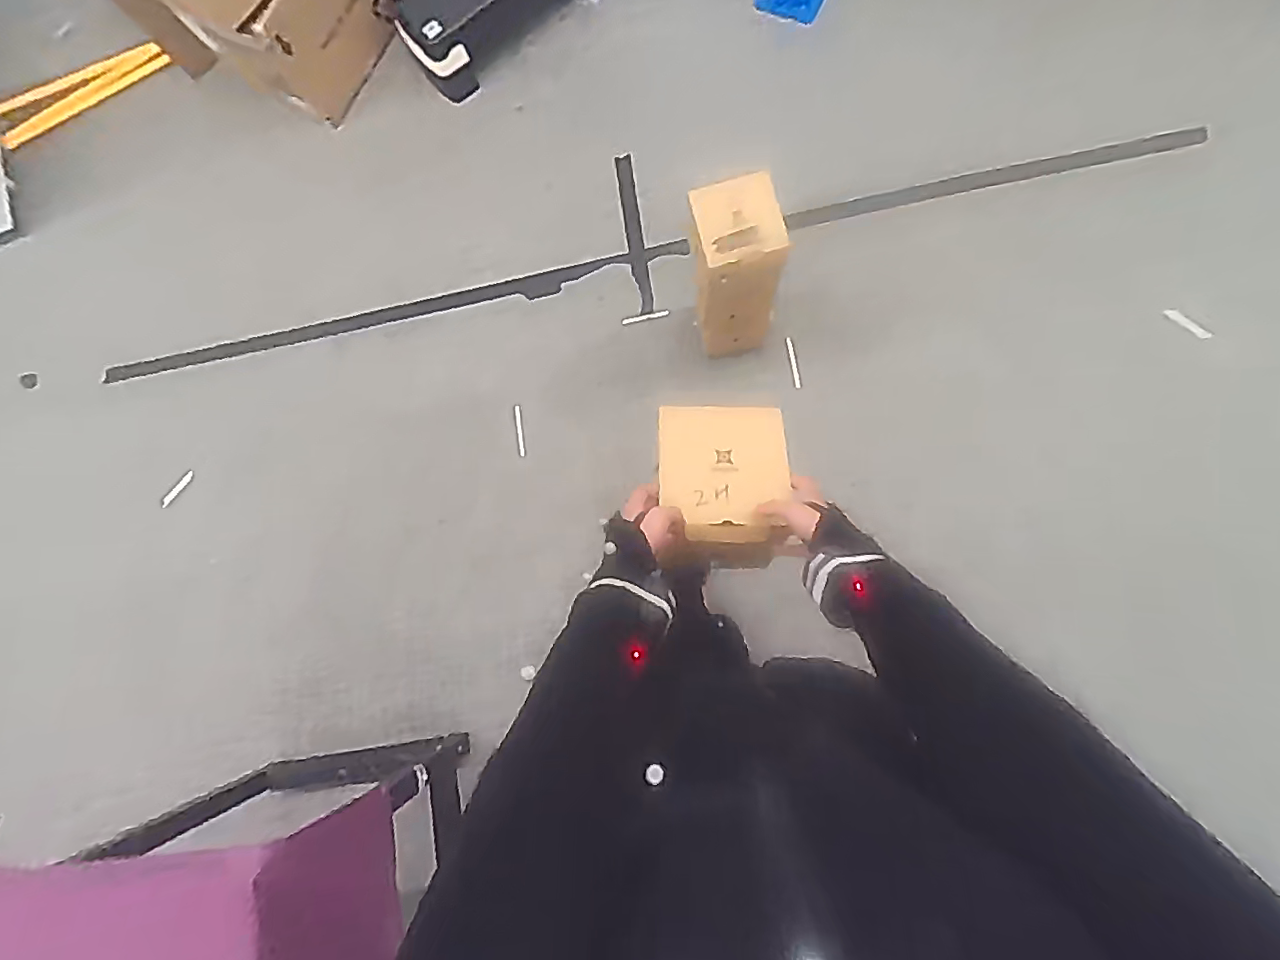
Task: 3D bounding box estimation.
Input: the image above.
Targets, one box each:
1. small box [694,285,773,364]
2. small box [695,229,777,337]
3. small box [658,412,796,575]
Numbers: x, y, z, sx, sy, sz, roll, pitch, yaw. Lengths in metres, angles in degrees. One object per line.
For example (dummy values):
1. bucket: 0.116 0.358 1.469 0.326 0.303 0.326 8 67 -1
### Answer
1. small box: 0.248 -0.435 1.468 0.179 0.176 0.168 -13 80 5
2. small box: 0.224 -0.471 1.310 0.168 0.176 0.179 -8 81 5
3. small box: 0.111 0.023 0.761 0.168 0.176 0.179 1 64 1
